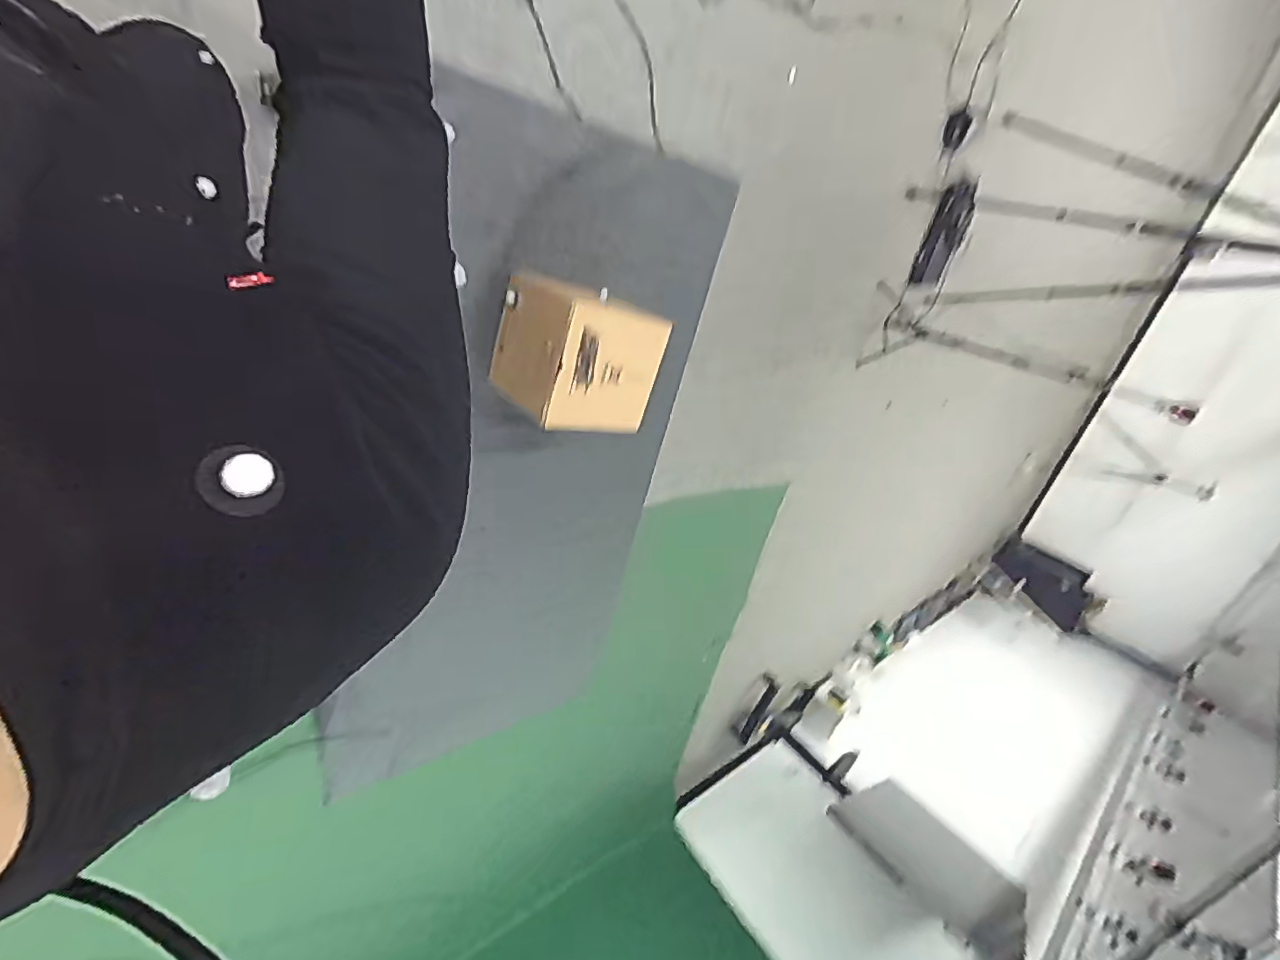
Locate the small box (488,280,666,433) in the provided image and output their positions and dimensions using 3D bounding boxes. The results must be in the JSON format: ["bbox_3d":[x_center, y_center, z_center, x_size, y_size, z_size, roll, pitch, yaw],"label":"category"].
[{"bbox_3d":[-0.098,-0.180,0.791,0.179,0.176,0.168,-2,119,-44],"label":"small box"}]
